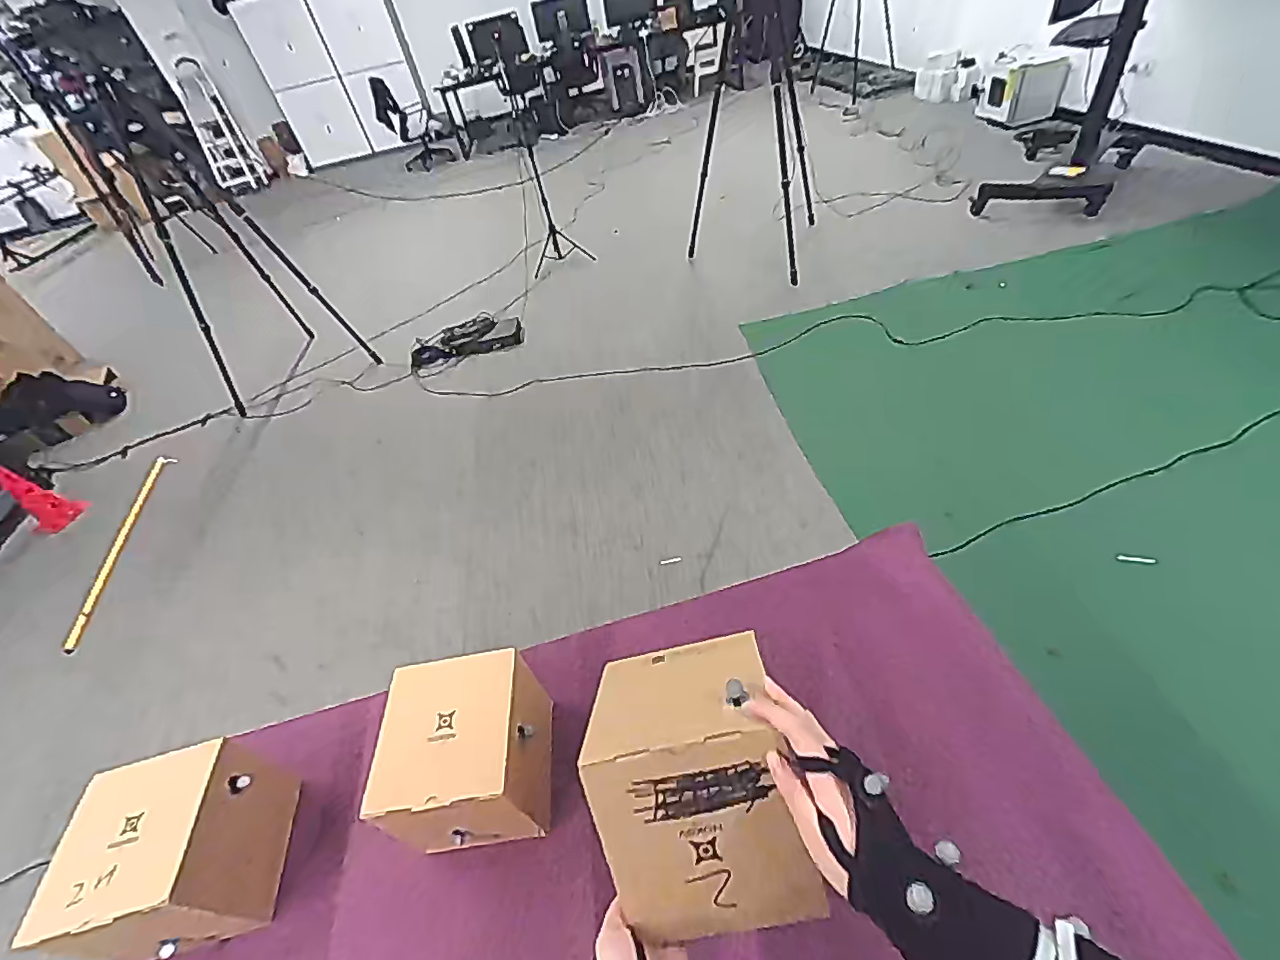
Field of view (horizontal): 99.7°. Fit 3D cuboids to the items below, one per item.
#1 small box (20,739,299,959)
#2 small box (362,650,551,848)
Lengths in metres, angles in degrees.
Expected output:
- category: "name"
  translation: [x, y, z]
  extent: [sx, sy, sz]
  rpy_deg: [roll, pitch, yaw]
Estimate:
- category: "small box"
  translation: [-0.569, 0.462, 0.678]
  extent: [0.168, 0.176, 0.179]
  rpy_deg: [-16, 44, -1]
- category: "small box"
  translation: [-0.219, 0.350, 0.703]
  extent: [0.168, 0.176, 0.179]
  rpy_deg: [-11, 45, 4]
